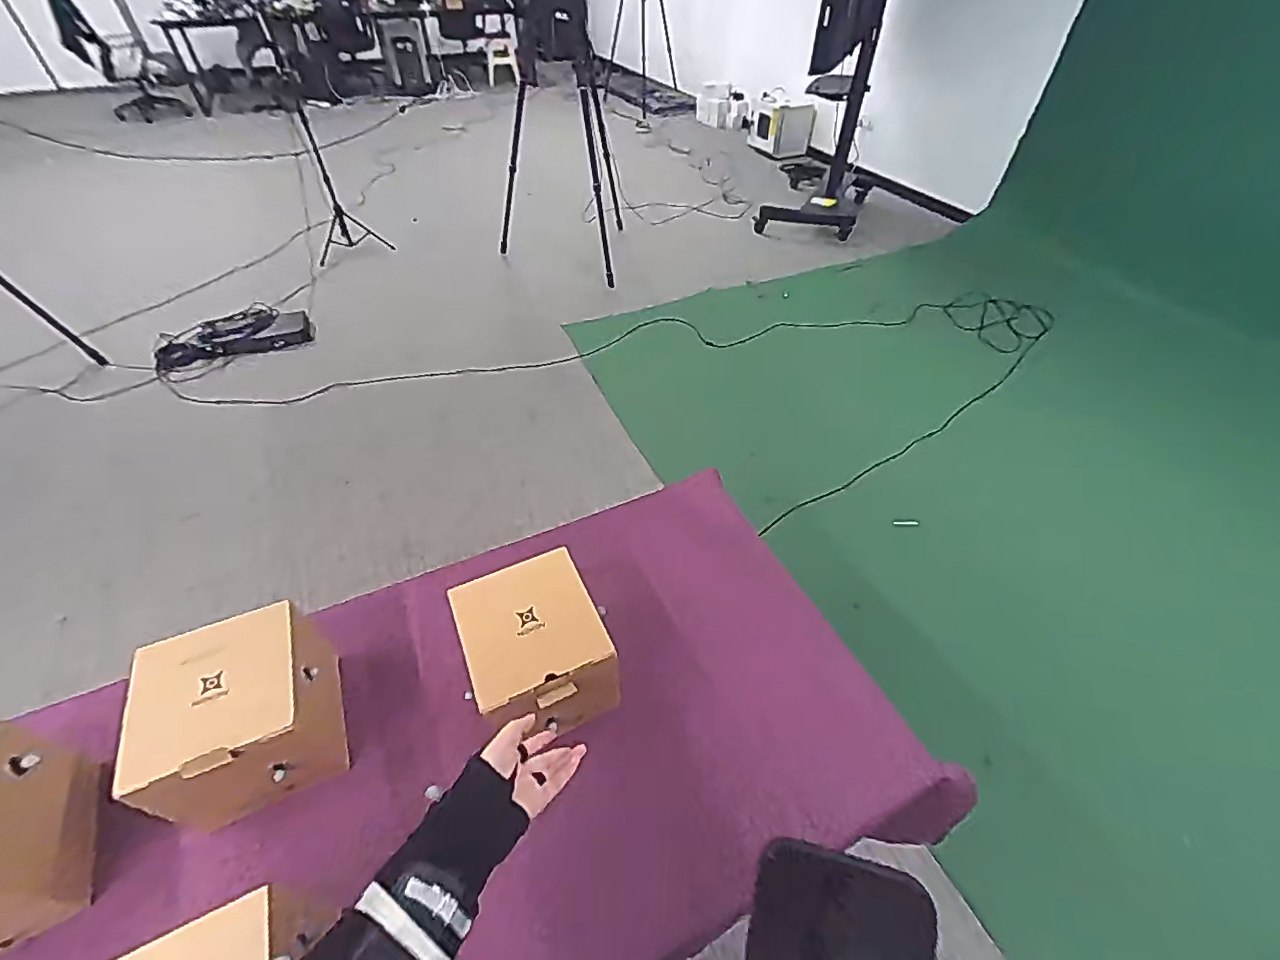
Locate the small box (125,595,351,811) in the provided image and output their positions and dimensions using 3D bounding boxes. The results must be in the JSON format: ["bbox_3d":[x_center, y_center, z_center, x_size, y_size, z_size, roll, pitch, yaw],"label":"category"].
[{"bbox_3d":[-0.480,0.282,0.673,0.168,0.176,0.179,-19,50,-18],"label":"small box"}]

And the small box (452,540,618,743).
[{"bbox_3d":[-0.138,0.218,0.734,0.168,0.176,0.179,-20,51,-18],"label":"small box"}]

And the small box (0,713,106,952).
[{"bbox_3d":[-0.718,0.391,0.569,0.168,0.176,0.179,-24,52,-21],"label":"small box"}]
